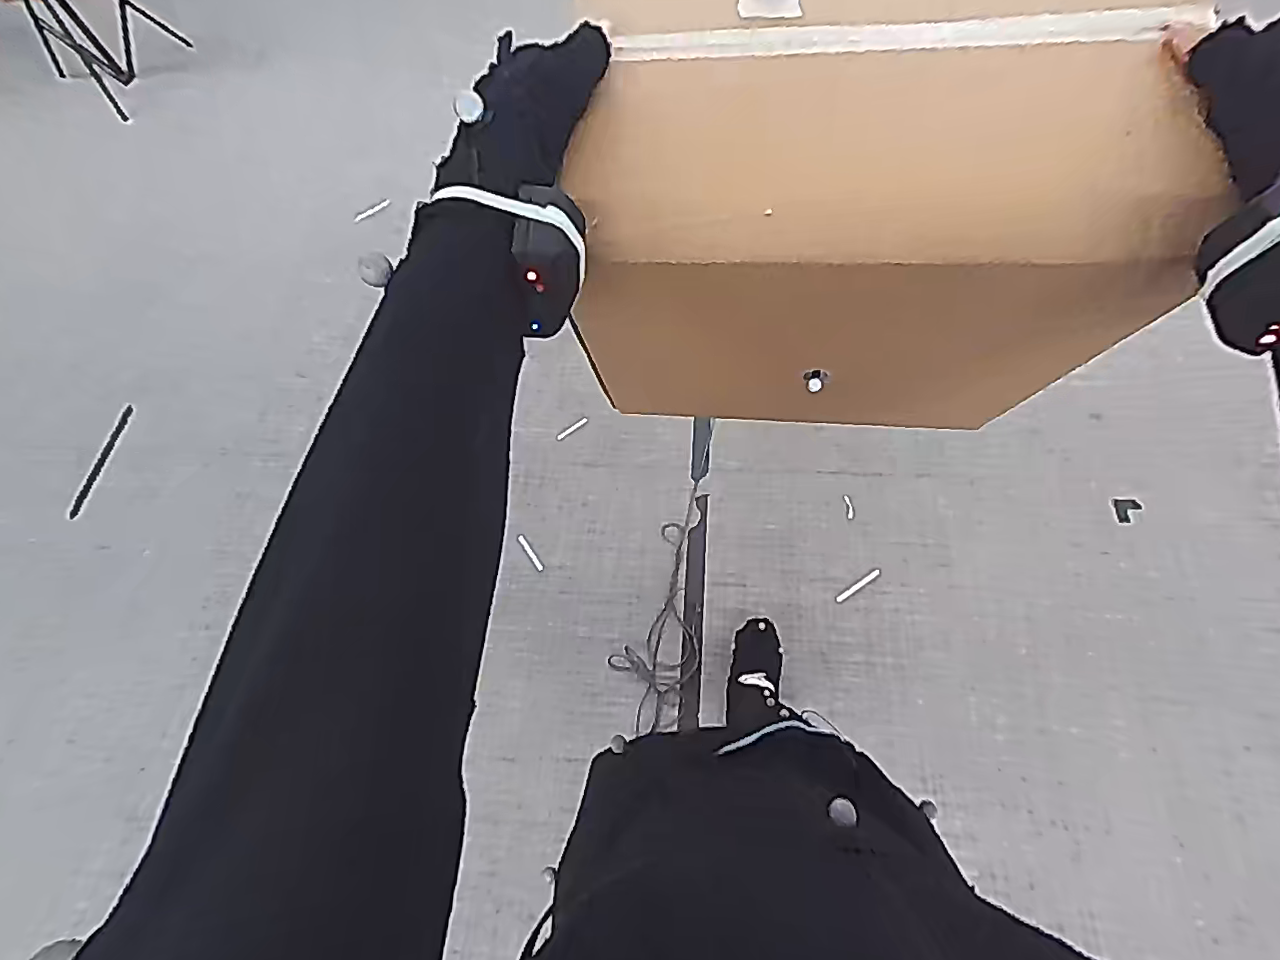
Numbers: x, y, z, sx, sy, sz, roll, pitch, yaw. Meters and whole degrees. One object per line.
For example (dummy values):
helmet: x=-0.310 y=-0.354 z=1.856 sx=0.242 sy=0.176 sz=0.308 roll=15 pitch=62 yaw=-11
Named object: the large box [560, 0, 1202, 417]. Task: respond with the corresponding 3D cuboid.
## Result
large box: x=0.172 y=-0.255 z=0.521 sx=0.408 sy=0.320 sz=0.320 roll=3 pitch=78 yaw=9
